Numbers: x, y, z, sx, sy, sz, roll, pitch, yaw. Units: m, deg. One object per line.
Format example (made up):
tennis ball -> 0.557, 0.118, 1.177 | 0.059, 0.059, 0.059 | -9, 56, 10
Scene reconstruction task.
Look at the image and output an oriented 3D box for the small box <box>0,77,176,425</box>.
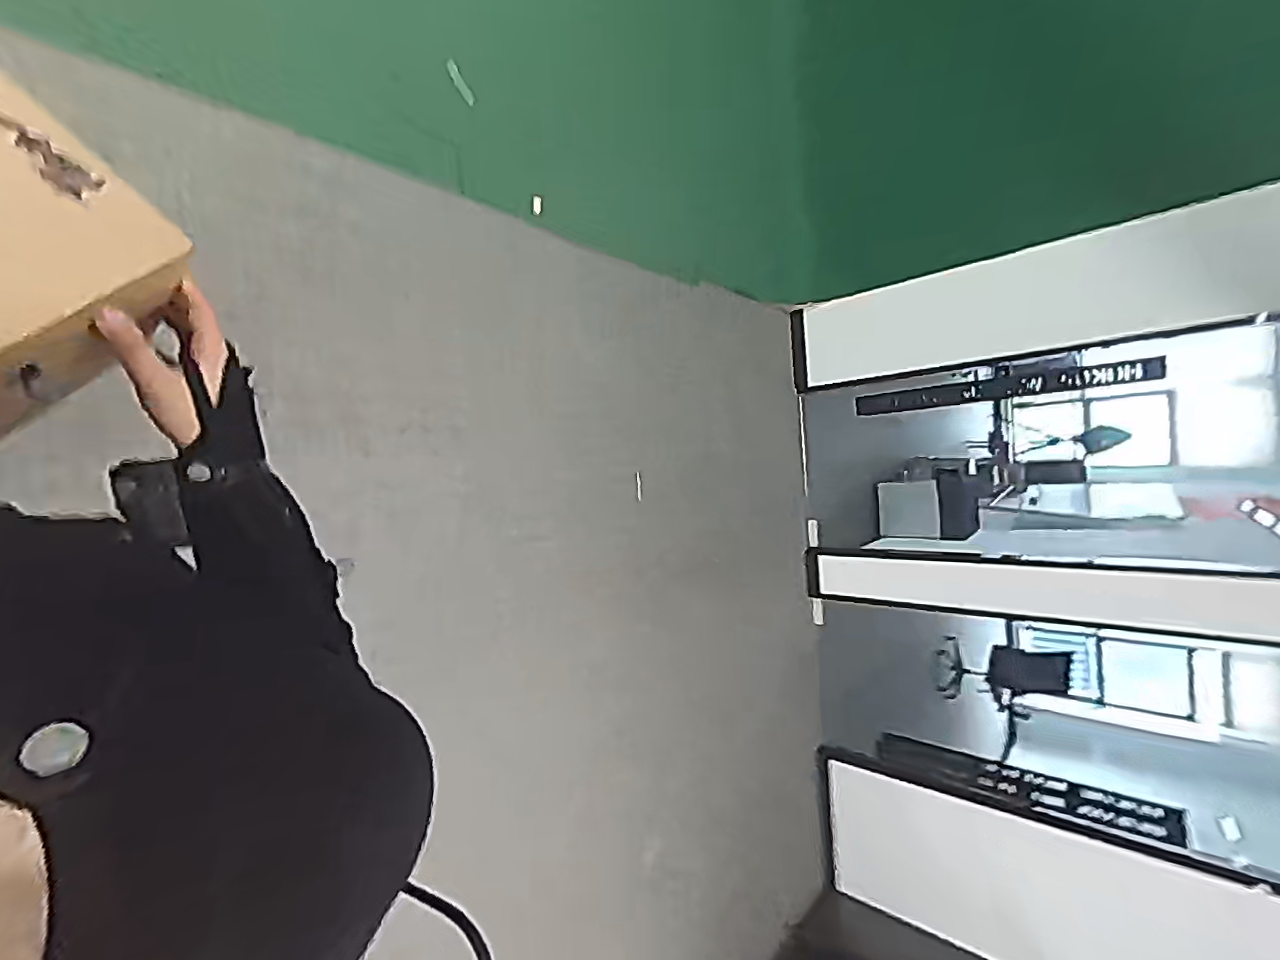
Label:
small box -> -0.424, -0.127, 0.304 | 0.168, 0.176, 0.179 | 48, 45, -28
